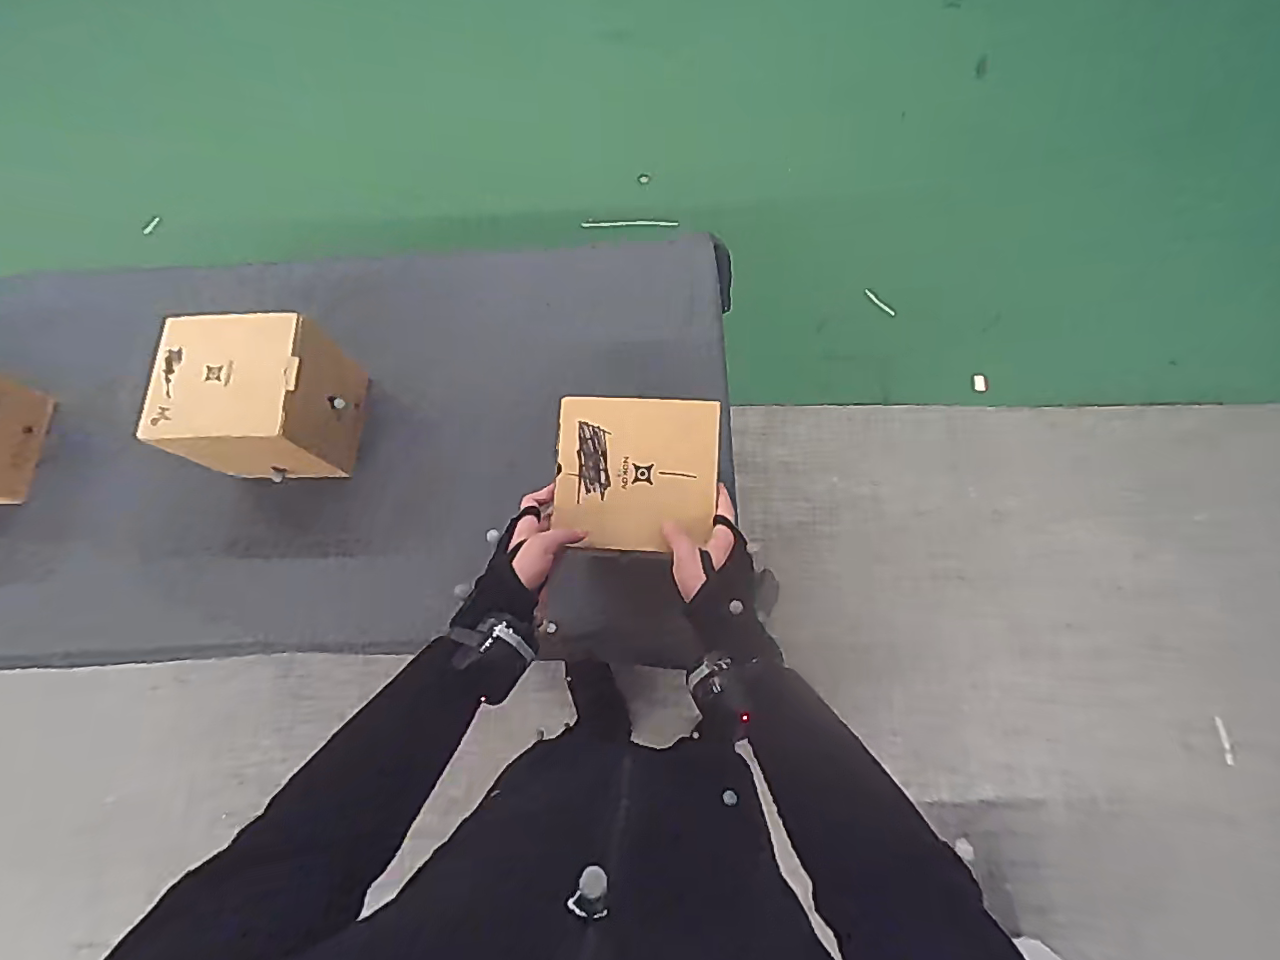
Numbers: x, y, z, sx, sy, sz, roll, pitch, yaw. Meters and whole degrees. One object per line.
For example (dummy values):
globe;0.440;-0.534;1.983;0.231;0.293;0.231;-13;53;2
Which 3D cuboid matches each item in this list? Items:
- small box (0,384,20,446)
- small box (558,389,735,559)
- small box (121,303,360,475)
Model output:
small box;-0.974;-0.075;0.684;0.179;0.176;0.168;-2;71;-1
small box;0.012;0.003;0.639;0.179;0.176;0.168;4;79;3
small box;-0.494;-0.109;0.703;0.179;0.176;0.168;0;73;-2
